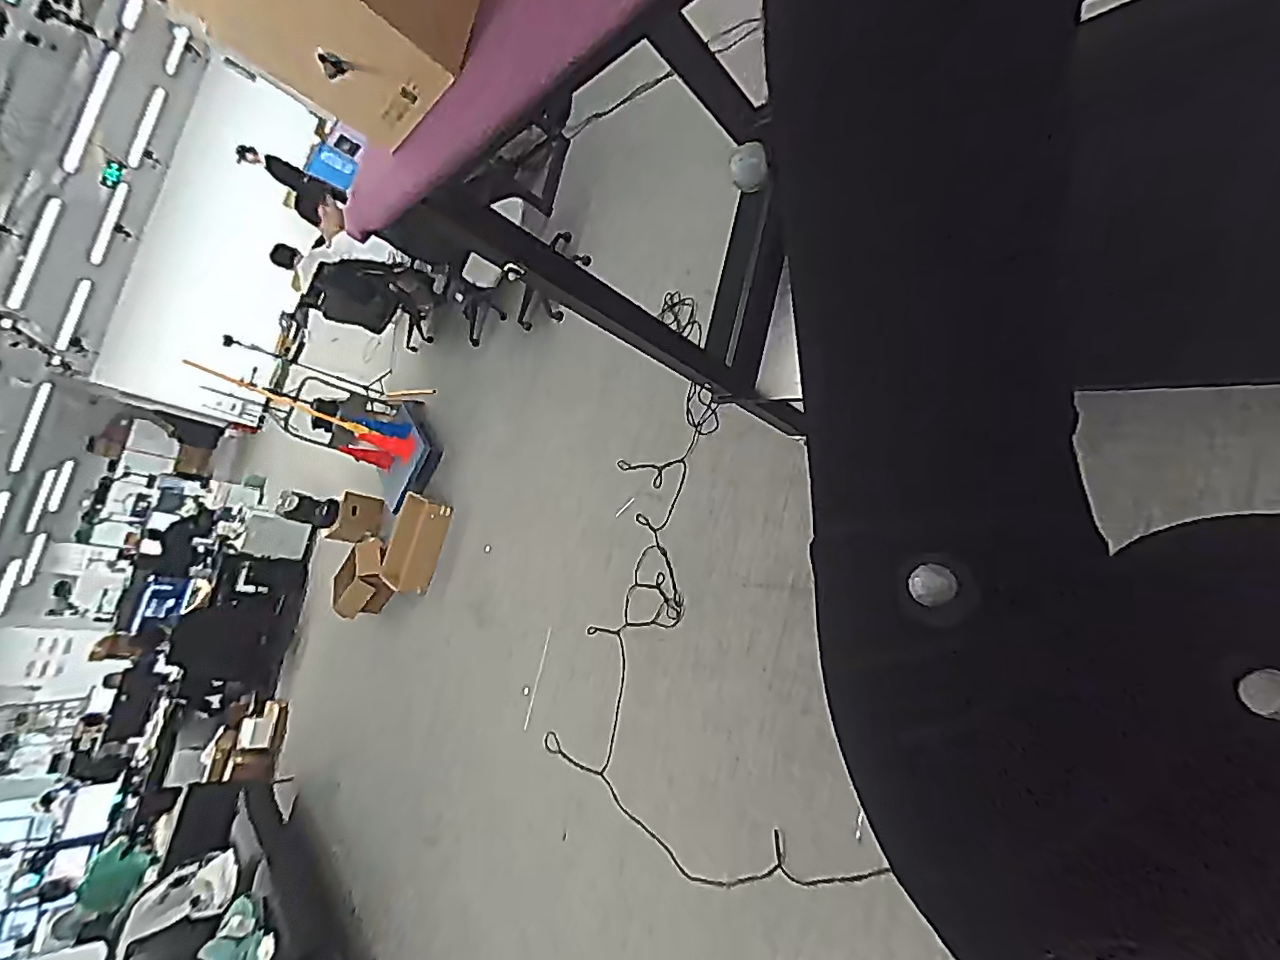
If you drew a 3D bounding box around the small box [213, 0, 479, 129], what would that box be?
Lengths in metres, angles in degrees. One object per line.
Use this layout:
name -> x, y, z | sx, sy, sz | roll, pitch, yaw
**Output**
small box -> -0.247, -0.460, 0.485 | 0.168, 0.176, 0.179 | 3, 78, 46
